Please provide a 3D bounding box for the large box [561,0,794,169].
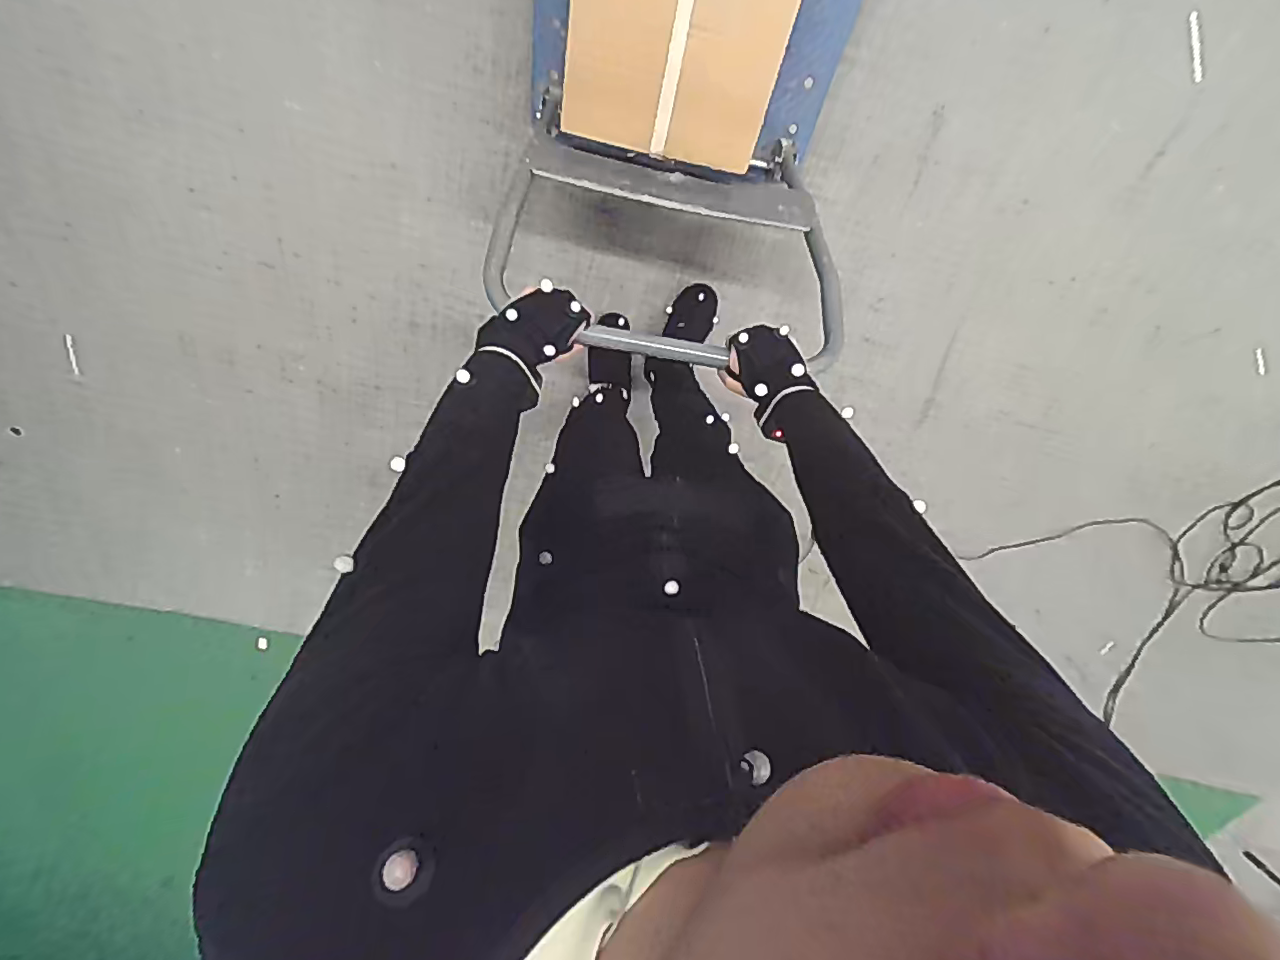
[{"bbox_3d":[0.065,-0.779,0.850,0.320,0.320,0.408,9,135,-7],"label":"large box"}]
